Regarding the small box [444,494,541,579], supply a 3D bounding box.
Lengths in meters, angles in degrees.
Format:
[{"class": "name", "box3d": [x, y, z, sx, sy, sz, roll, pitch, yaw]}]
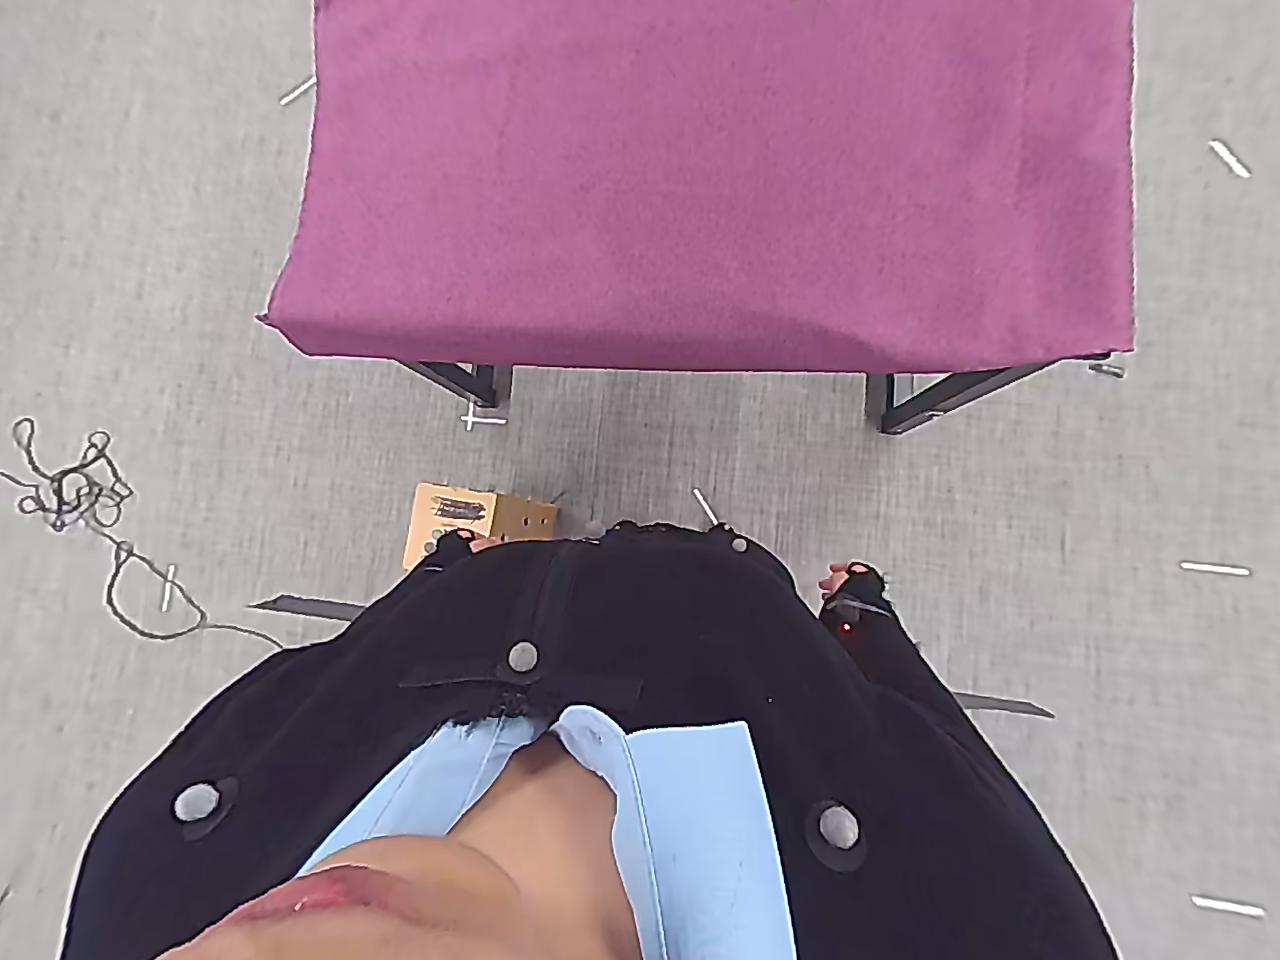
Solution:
[{"class": "small box", "box3d": [-0.343, 0.133, 1.293, 0.168, 0.176, 0.179, 6, 86, 6]}]

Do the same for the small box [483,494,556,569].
[{"class": "small box", "box3d": [-0.335, 0.144, 1.458, 0.168, 0.176, 0.179, 11, 86, 6]}]
